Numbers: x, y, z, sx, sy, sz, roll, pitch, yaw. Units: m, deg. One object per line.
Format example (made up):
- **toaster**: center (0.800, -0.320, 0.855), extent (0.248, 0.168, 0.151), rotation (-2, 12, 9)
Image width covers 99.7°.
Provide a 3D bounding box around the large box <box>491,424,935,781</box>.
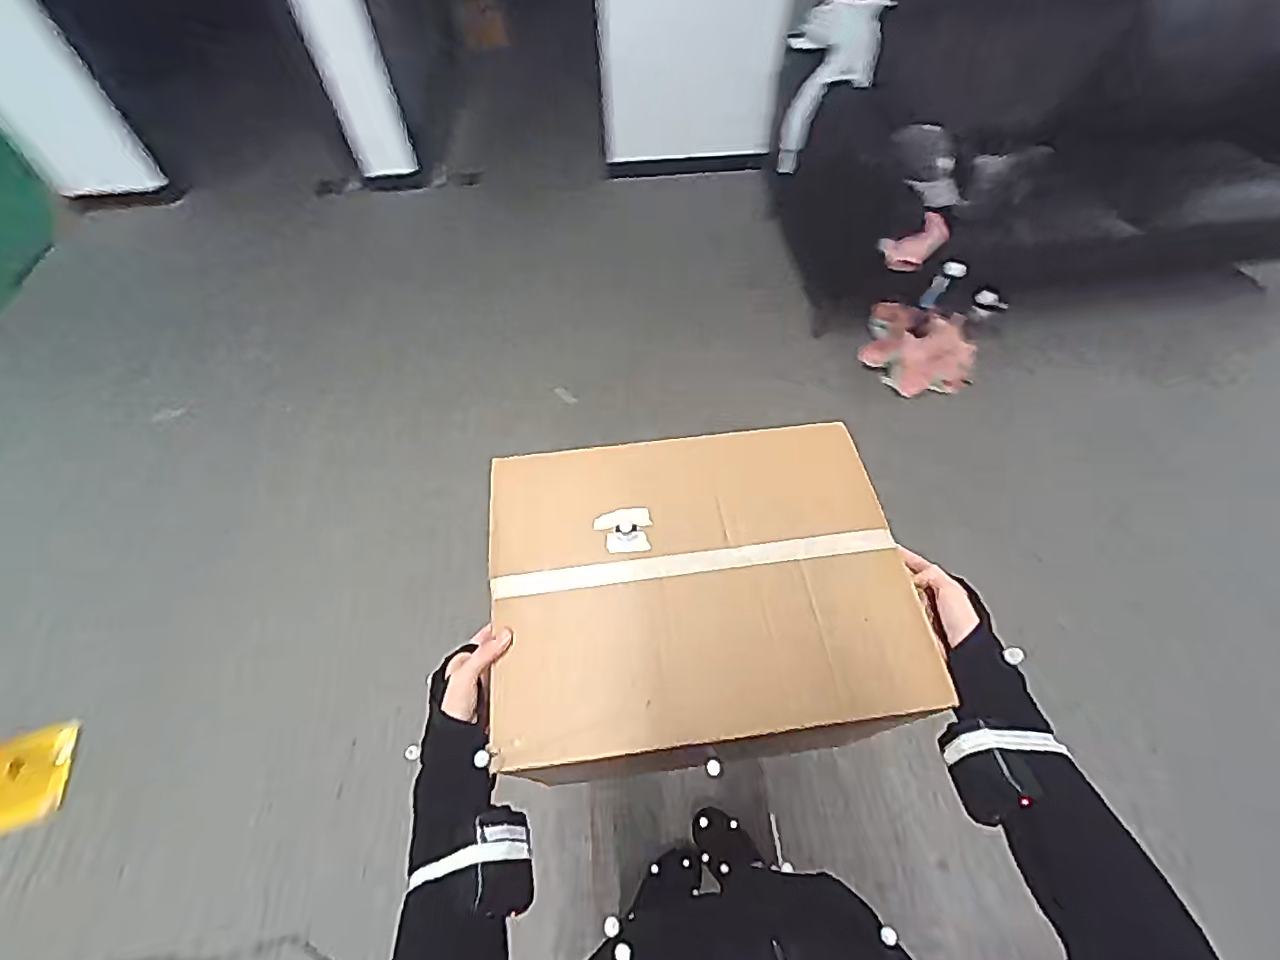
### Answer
- **large box**: center (0.055, 0.167, 0.677), extent (0.408, 0.320, 0.320), rotation (-8, 58, -3)
